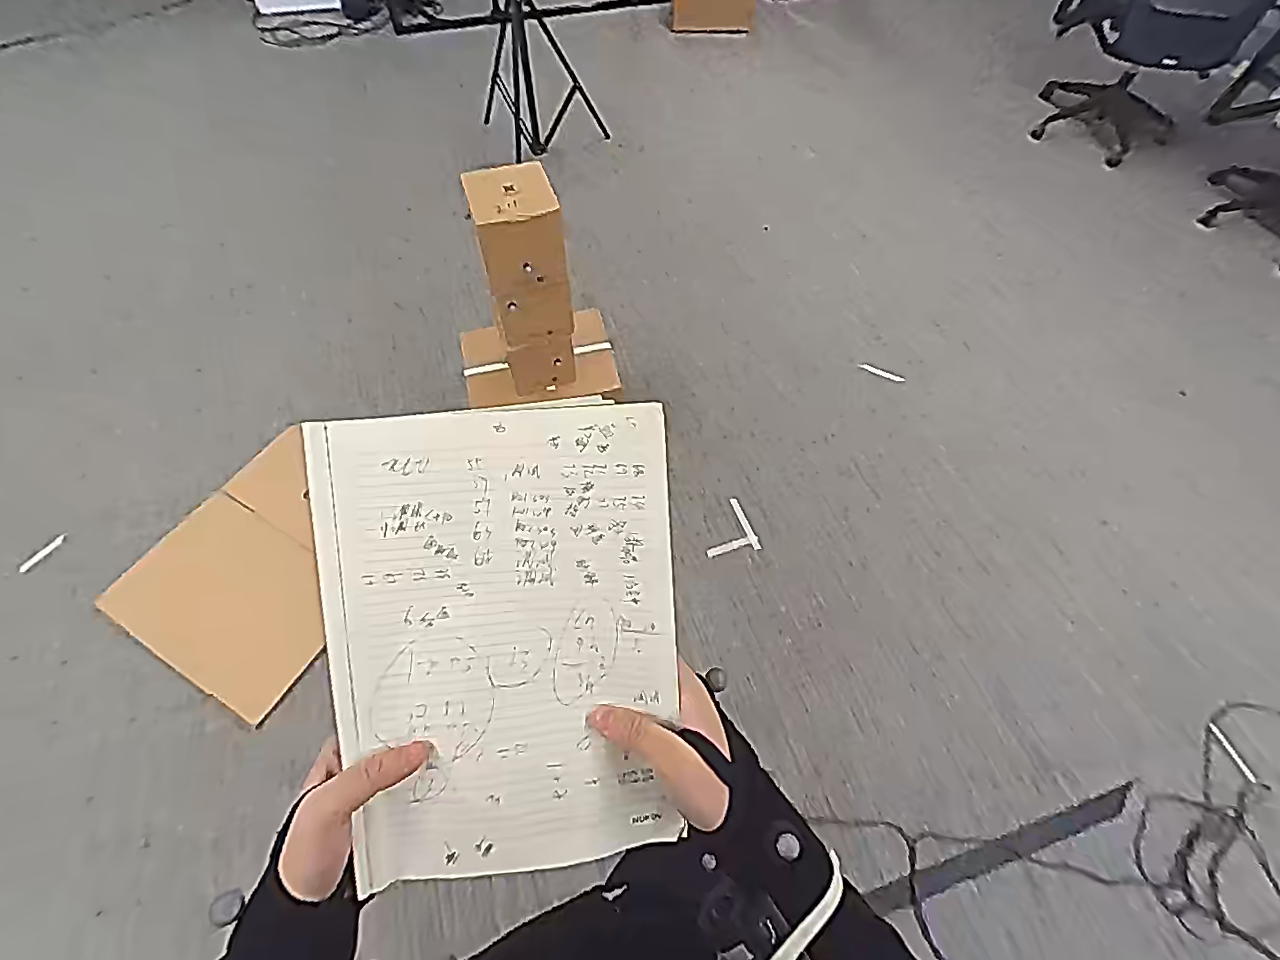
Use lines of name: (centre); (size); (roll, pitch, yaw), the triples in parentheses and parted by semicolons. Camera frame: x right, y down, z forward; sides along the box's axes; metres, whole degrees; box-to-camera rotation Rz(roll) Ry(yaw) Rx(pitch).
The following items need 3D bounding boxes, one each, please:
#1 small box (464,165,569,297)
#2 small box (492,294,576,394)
small box: (-0.251, -0.512, 1.120); (0.168, 0.176, 0.179); (-16, 62, -11)
small box: (-0.269, -0.345, 1.403); (0.168, 0.176, 0.179); (-18, 62, -13)
